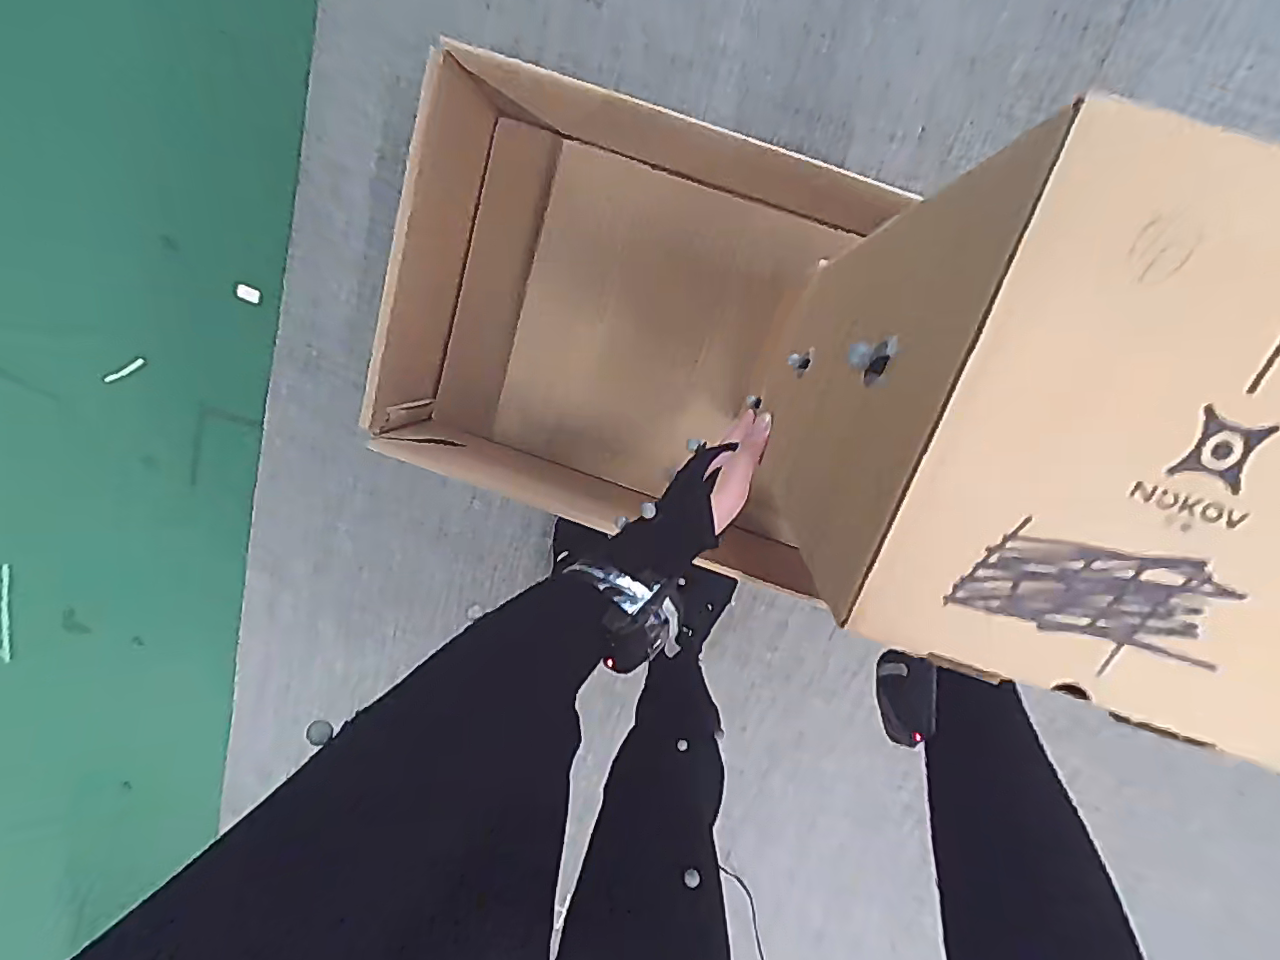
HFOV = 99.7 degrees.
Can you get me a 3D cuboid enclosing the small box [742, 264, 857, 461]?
[{"bbox_3d":[0.212,-0.101,0.564,0.168,0.176,0.179,19,105,2],"label":"small box"}]
